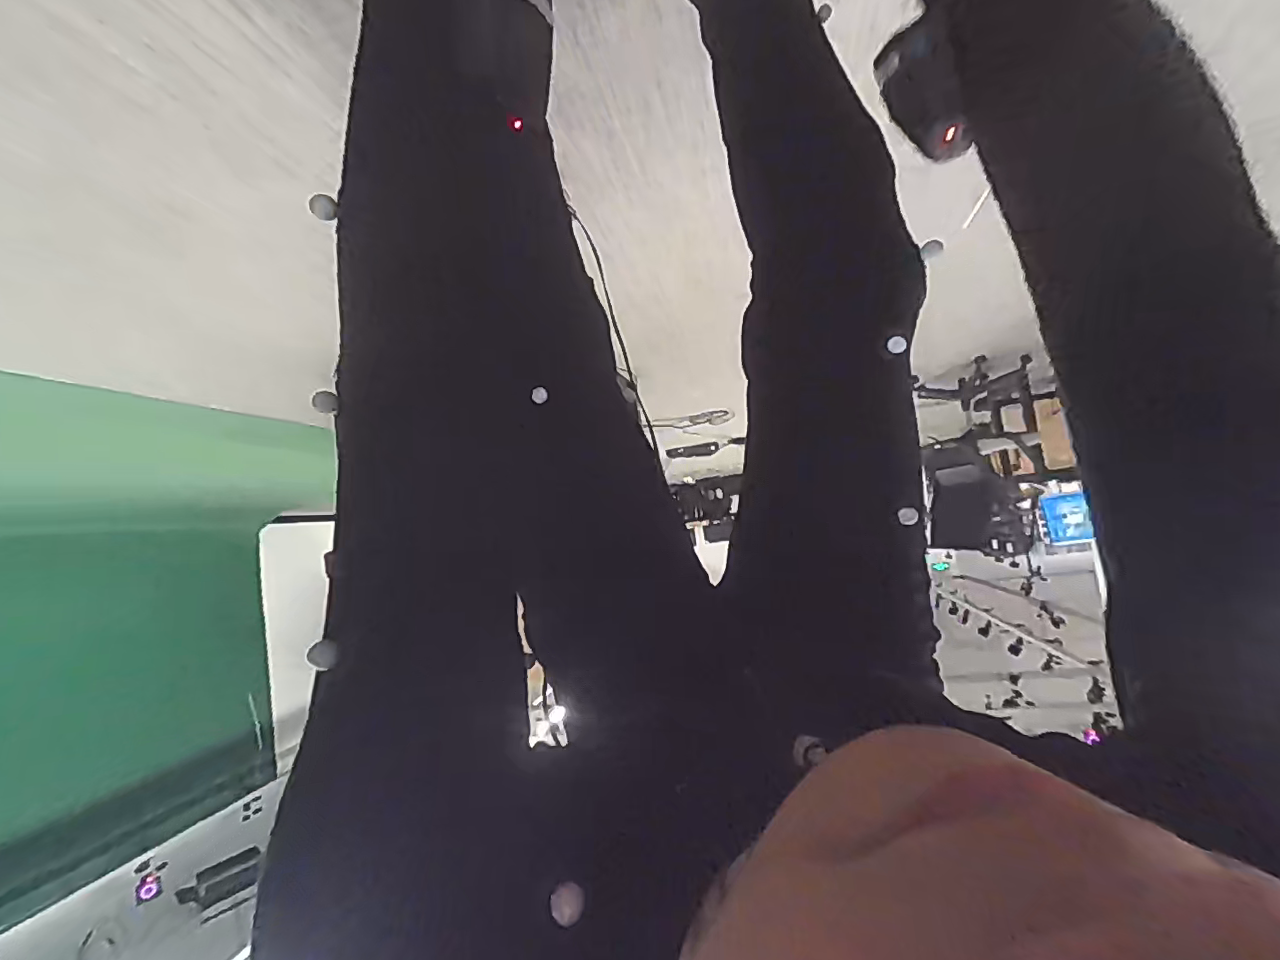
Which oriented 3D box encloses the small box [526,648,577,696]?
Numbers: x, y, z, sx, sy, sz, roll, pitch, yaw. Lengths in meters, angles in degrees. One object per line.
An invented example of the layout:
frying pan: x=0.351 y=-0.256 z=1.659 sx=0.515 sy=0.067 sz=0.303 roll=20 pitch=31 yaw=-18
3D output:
small box: x=-0.390 y=0.842 z=2.392 sx=0.168 sy=0.176 sz=0.179 roll=-9 pitch=172 yaw=14
